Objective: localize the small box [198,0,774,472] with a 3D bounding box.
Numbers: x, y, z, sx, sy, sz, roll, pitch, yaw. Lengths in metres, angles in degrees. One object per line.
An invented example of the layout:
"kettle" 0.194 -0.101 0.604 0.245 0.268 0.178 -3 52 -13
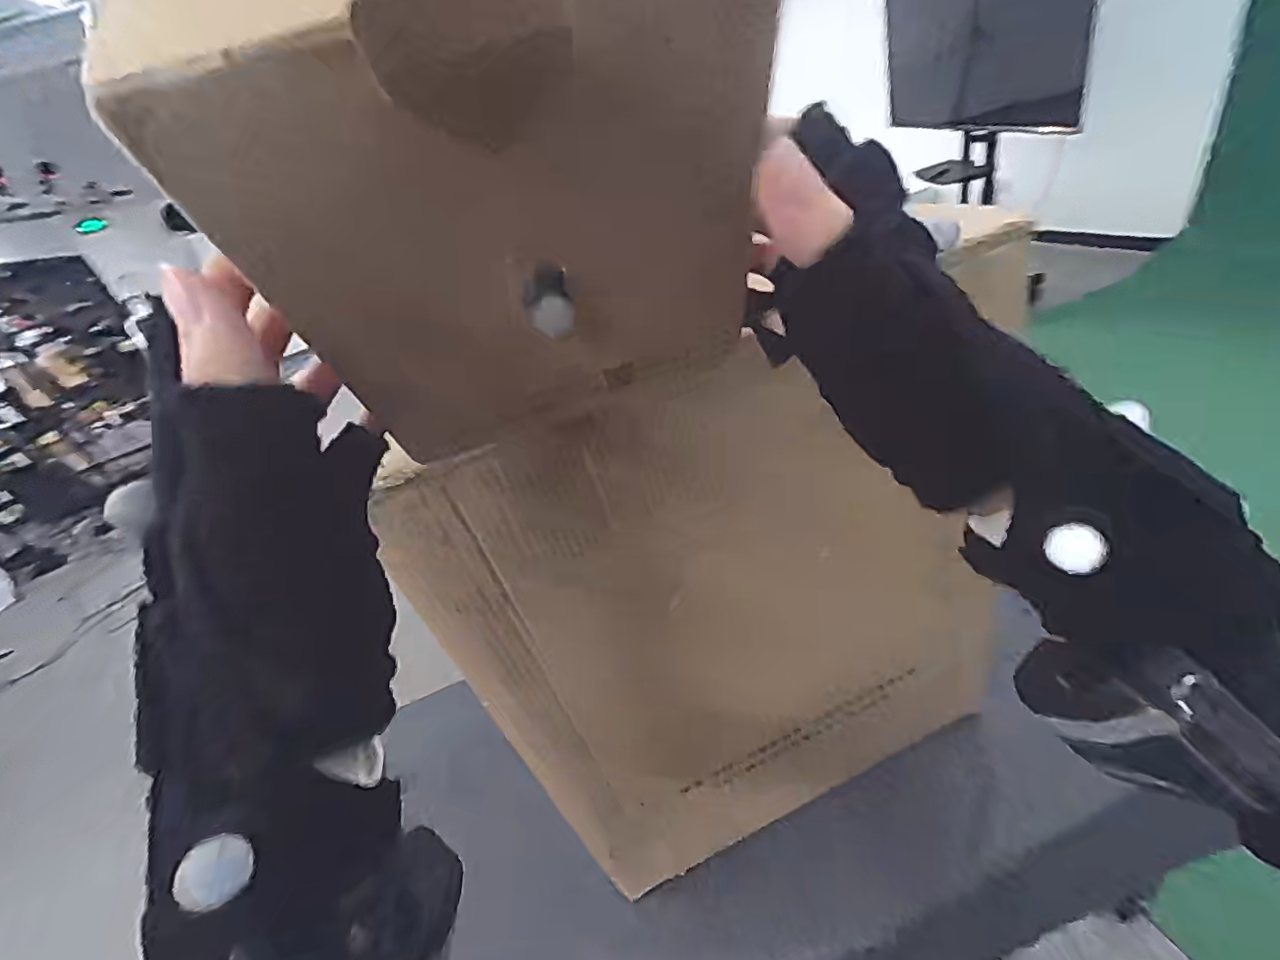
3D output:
"small box" -0.056 -0.122 0.252 0.168 0.176 0.179 -21 64 -4
